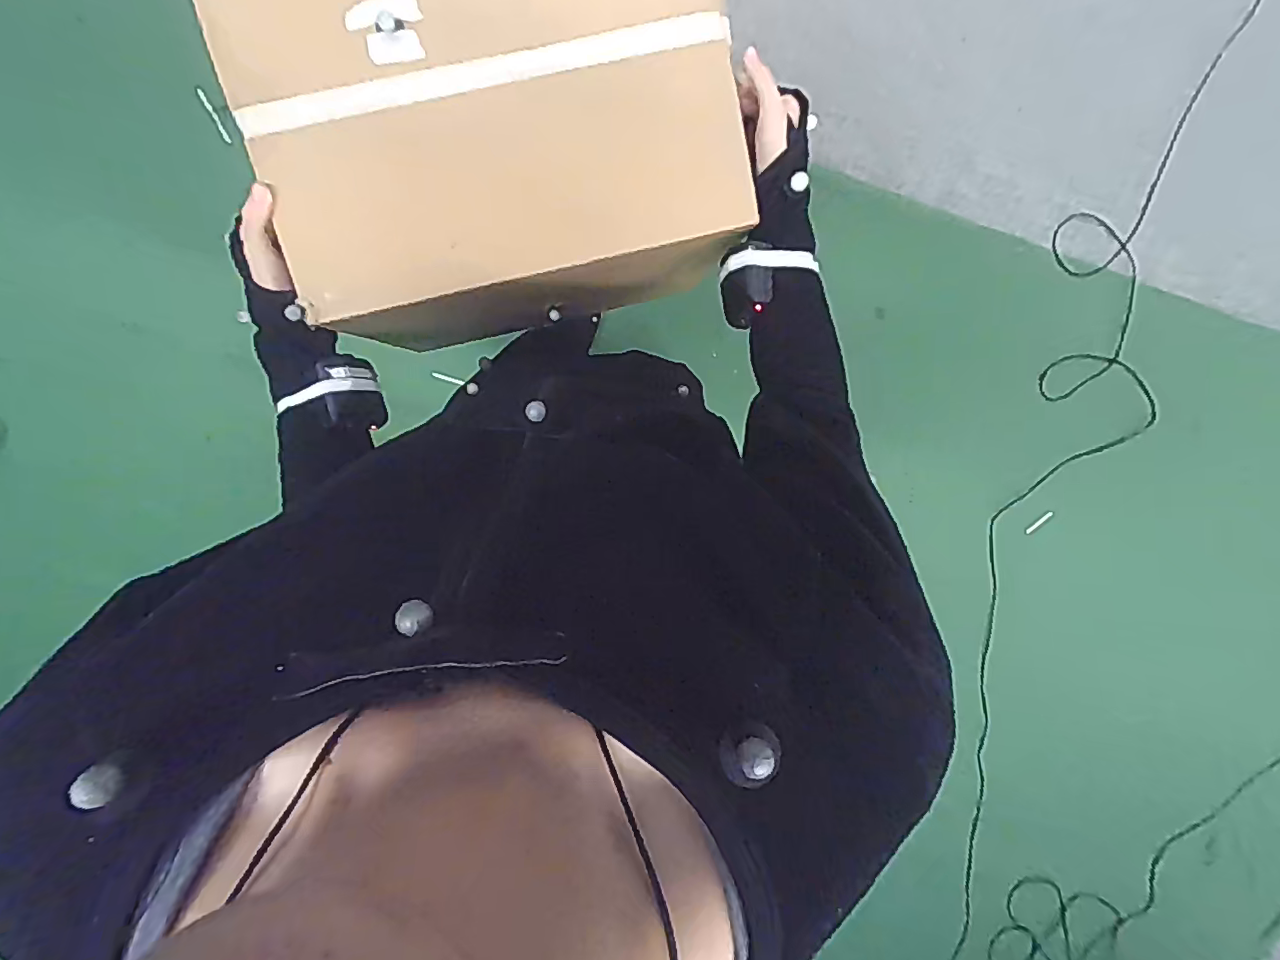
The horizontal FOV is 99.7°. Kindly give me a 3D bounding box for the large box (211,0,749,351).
[{"bbox_3d":[-0.138,-0.351,0.609,0.408,0.320,0.320,-14,99,-3],"label":"large box"}]
